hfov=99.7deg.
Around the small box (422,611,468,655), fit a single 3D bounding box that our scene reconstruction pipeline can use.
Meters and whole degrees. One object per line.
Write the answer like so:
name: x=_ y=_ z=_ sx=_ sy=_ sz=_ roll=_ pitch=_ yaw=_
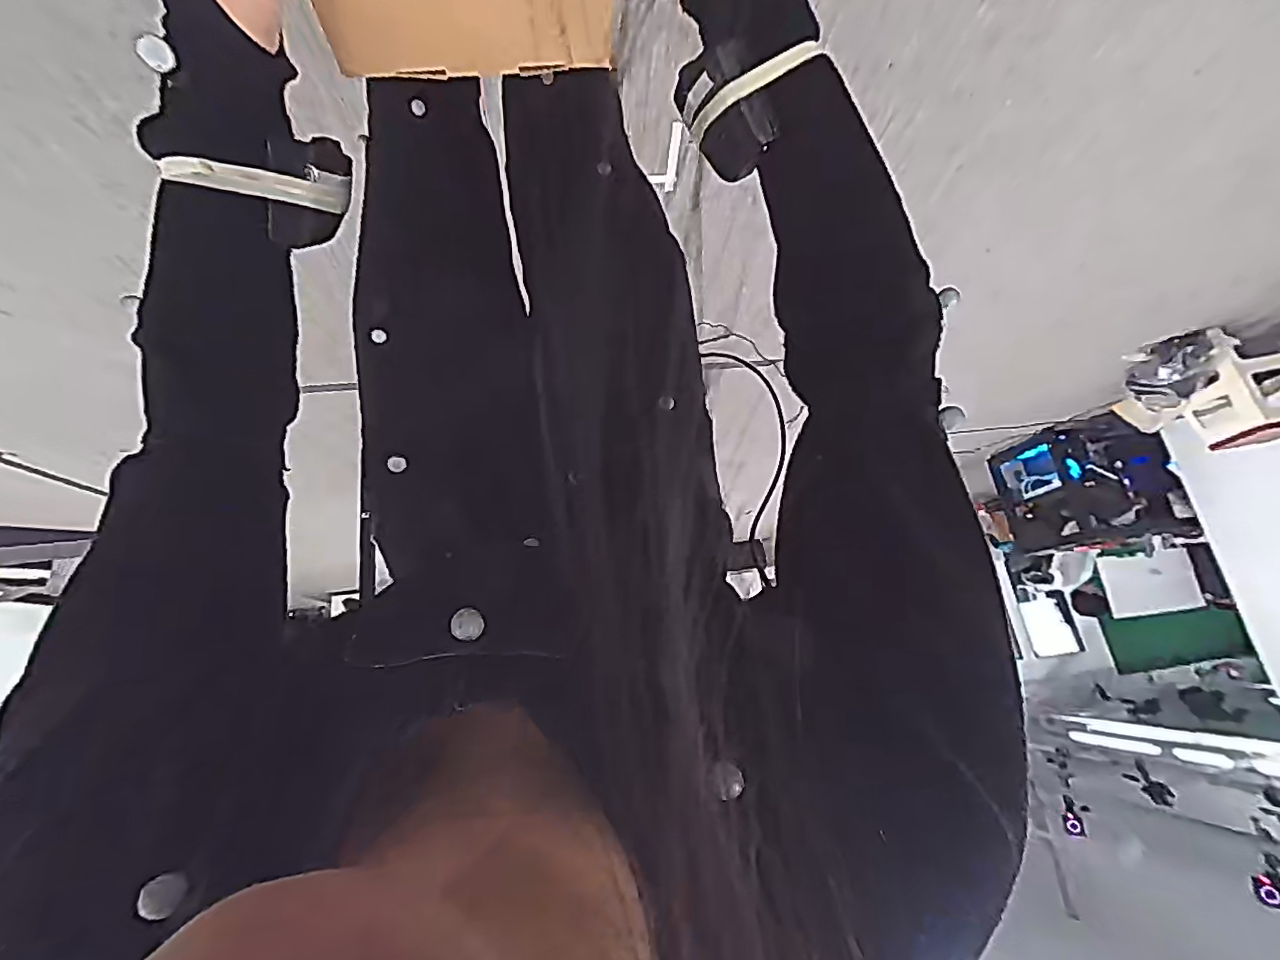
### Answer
small box: x=-0.899 y=0.709 z=2.498 sx=0.179 sy=0.176 sz=0.168 roll=-6 pitch=164 yaw=-10
